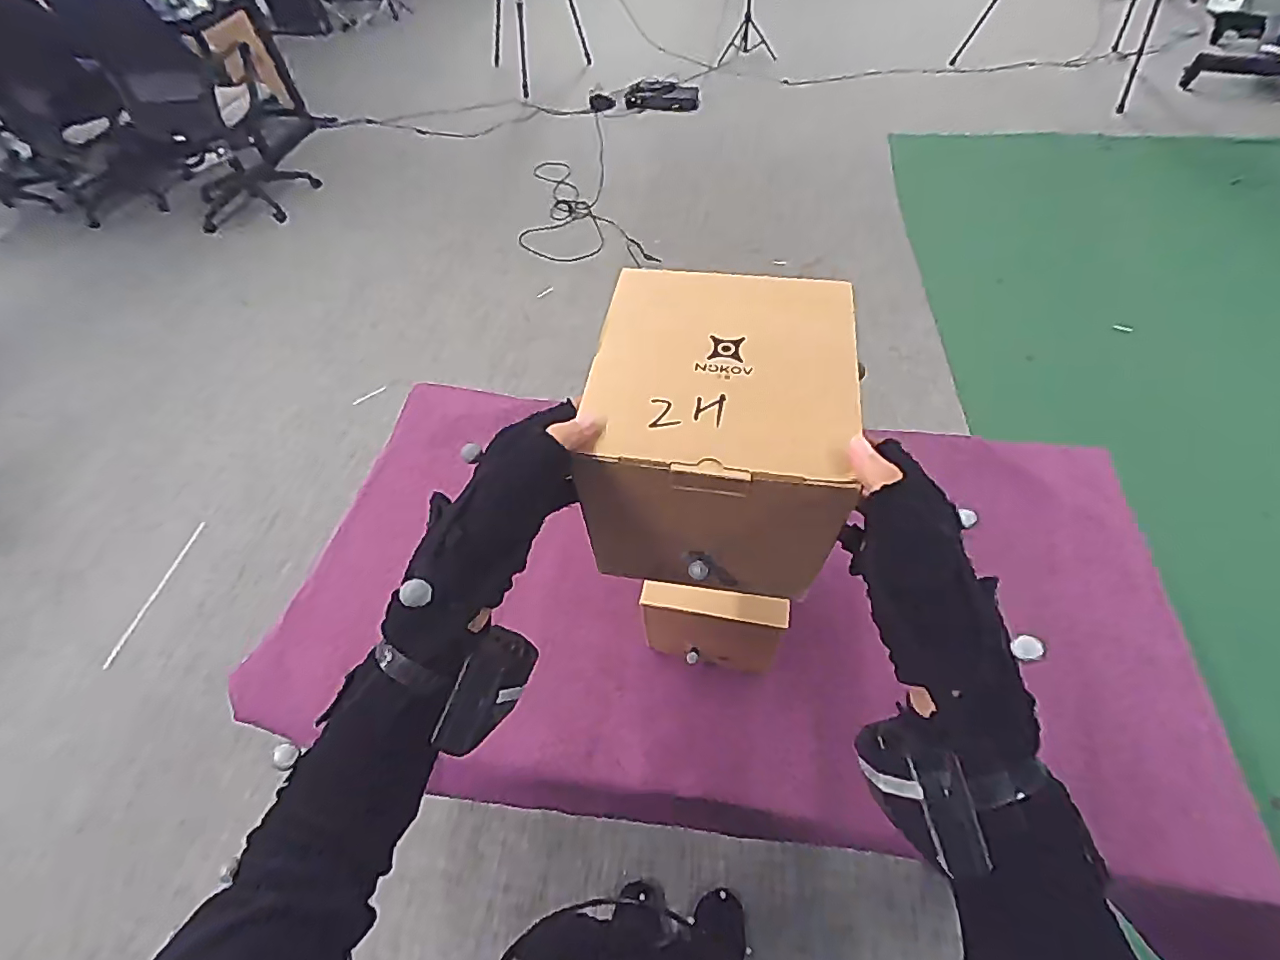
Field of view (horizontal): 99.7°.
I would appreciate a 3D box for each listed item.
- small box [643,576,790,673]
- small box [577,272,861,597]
[{"bbox_3d":[0.104,0.129,0.710,0.168,0.176,0.179,8,55,11],"label":"small box"},{"bbox_3d":[0.060,-0.032,0.417,0.168,0.176,0.179,7,57,8],"label":"small box"}]
